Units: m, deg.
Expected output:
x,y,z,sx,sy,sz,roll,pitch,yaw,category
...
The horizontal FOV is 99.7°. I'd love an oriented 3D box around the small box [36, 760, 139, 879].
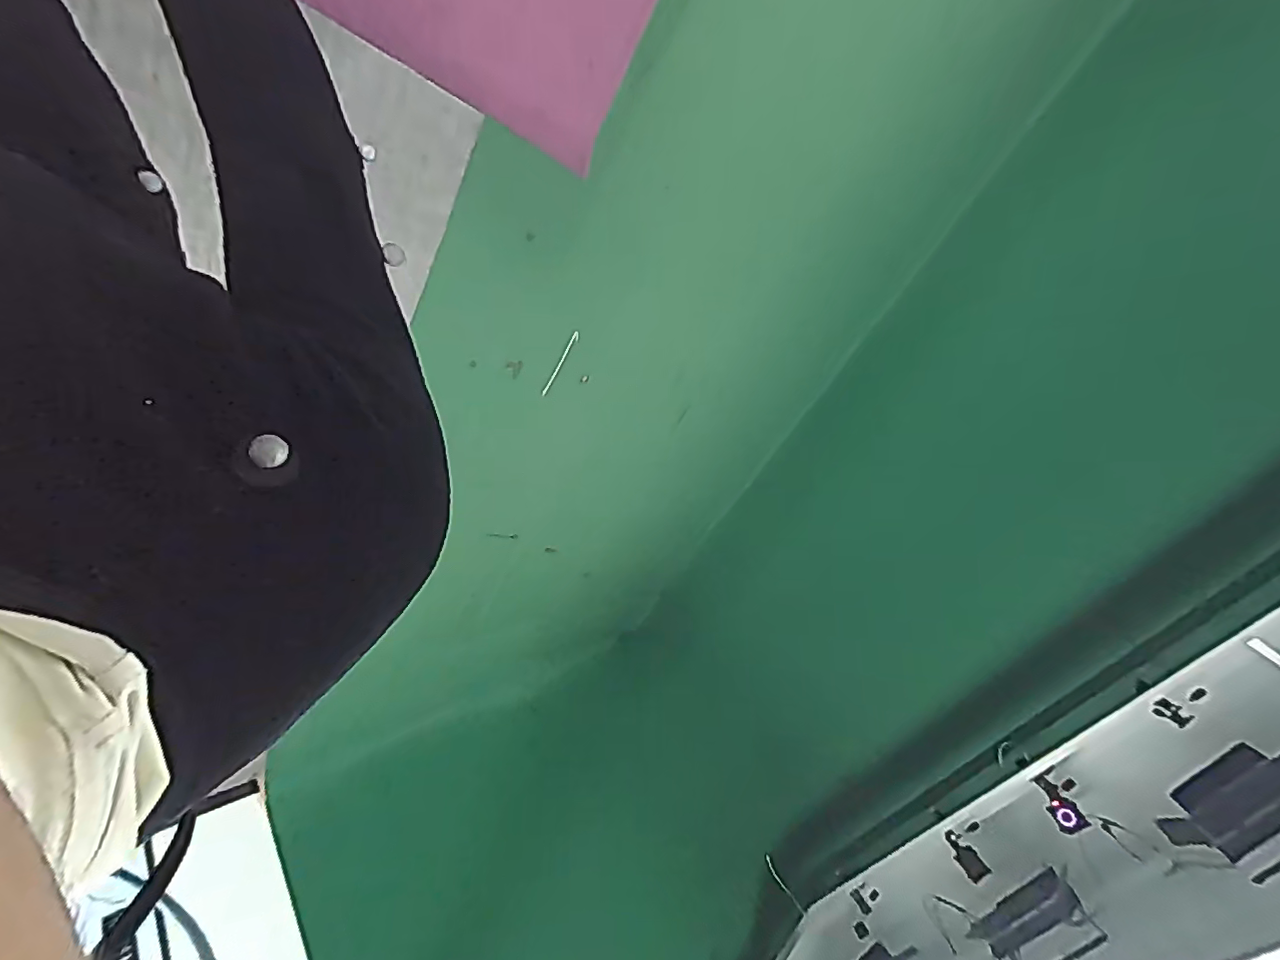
x,y,z,sx,sy,sz,roll,pitch,yaw,category
-1.415,0.859,1.383,0.168,0.176,0.179,-1,133,-52,small box
